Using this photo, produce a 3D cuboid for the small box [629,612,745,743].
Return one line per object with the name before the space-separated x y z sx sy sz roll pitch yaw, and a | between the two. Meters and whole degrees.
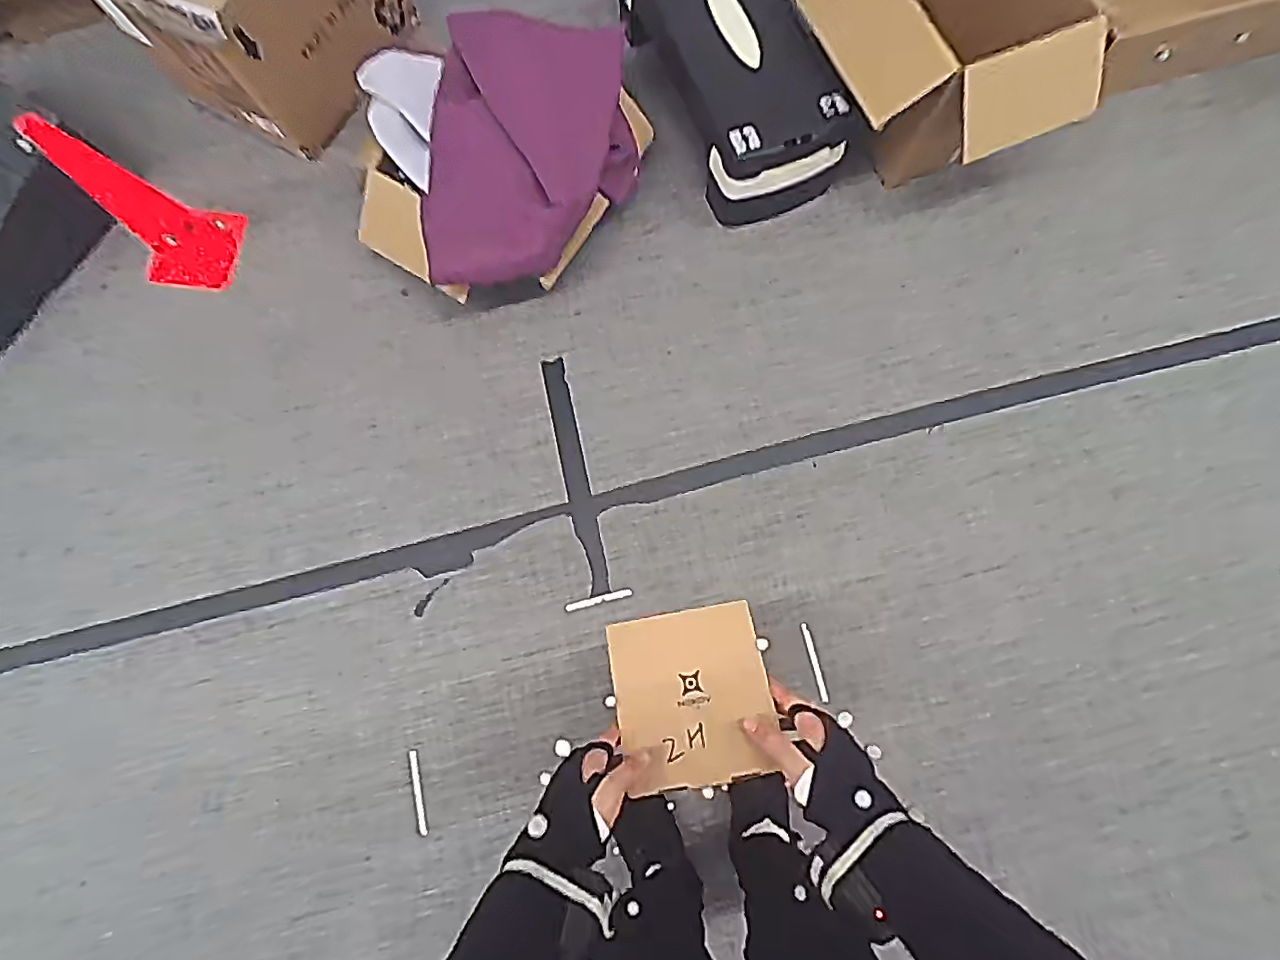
small box | 0.082 0.351 0.992 0.168 0.176 0.179 -14 79 -1
